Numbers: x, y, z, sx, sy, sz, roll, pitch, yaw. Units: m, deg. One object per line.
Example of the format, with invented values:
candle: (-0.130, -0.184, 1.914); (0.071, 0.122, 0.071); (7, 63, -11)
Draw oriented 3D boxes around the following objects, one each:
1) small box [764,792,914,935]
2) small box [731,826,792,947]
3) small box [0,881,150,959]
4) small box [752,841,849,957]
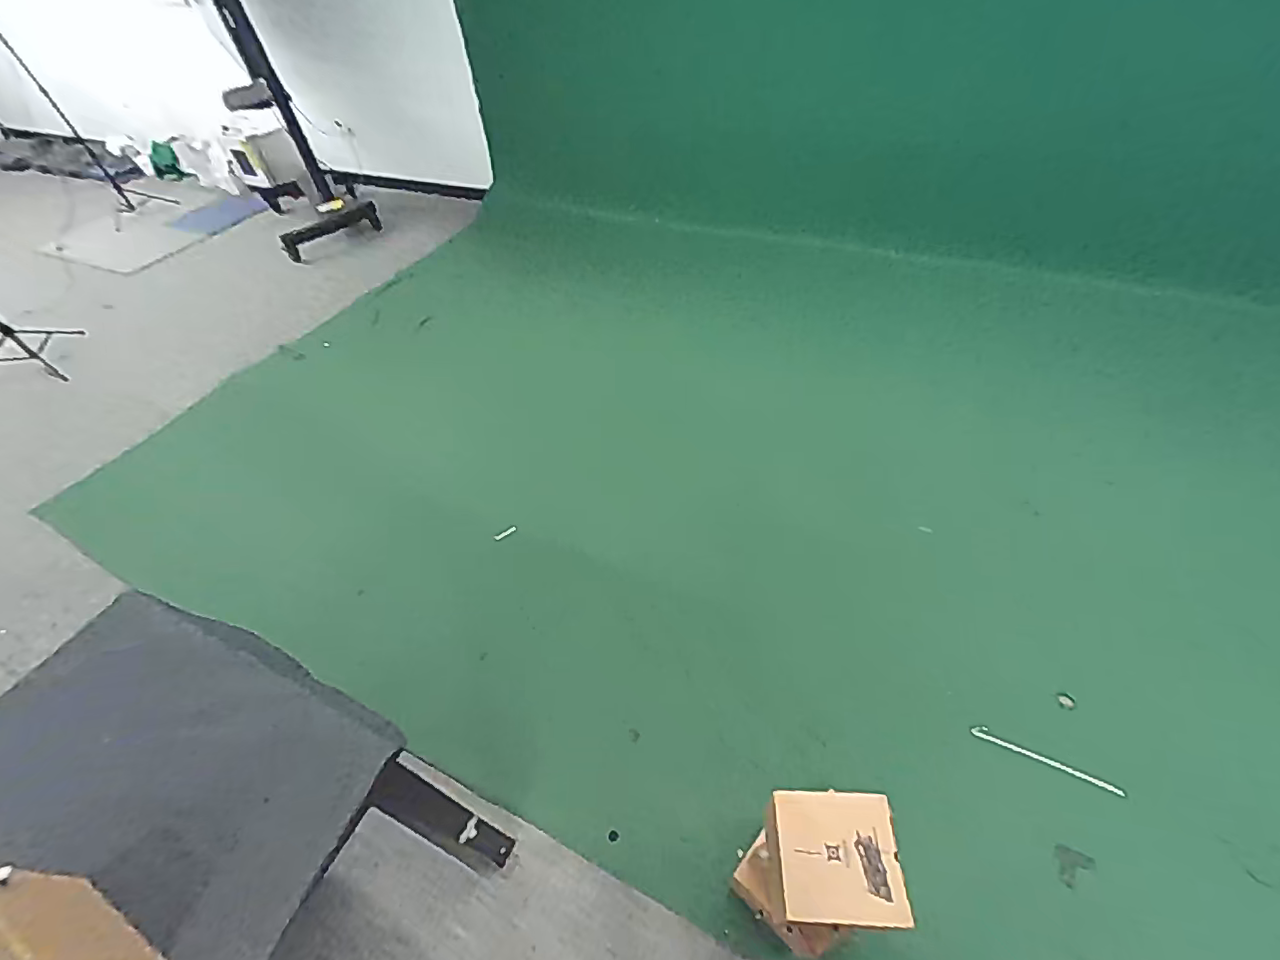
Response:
small box: (0.299, 0.606, 0.855); (0.179, 0.176, 0.168); (-1, 50, 5)
small box: (0.302, 0.813, 1.109); (0.168, 0.176, 0.179); (33, 58, 29)
small box: (-0.616, 0.494, 0.492); (0.179, 0.176, 0.168); (17, 52, 20)
small box: (0.317, 0.718, 0.975); (0.179, 0.176, 0.168); (-22, 52, -16)
